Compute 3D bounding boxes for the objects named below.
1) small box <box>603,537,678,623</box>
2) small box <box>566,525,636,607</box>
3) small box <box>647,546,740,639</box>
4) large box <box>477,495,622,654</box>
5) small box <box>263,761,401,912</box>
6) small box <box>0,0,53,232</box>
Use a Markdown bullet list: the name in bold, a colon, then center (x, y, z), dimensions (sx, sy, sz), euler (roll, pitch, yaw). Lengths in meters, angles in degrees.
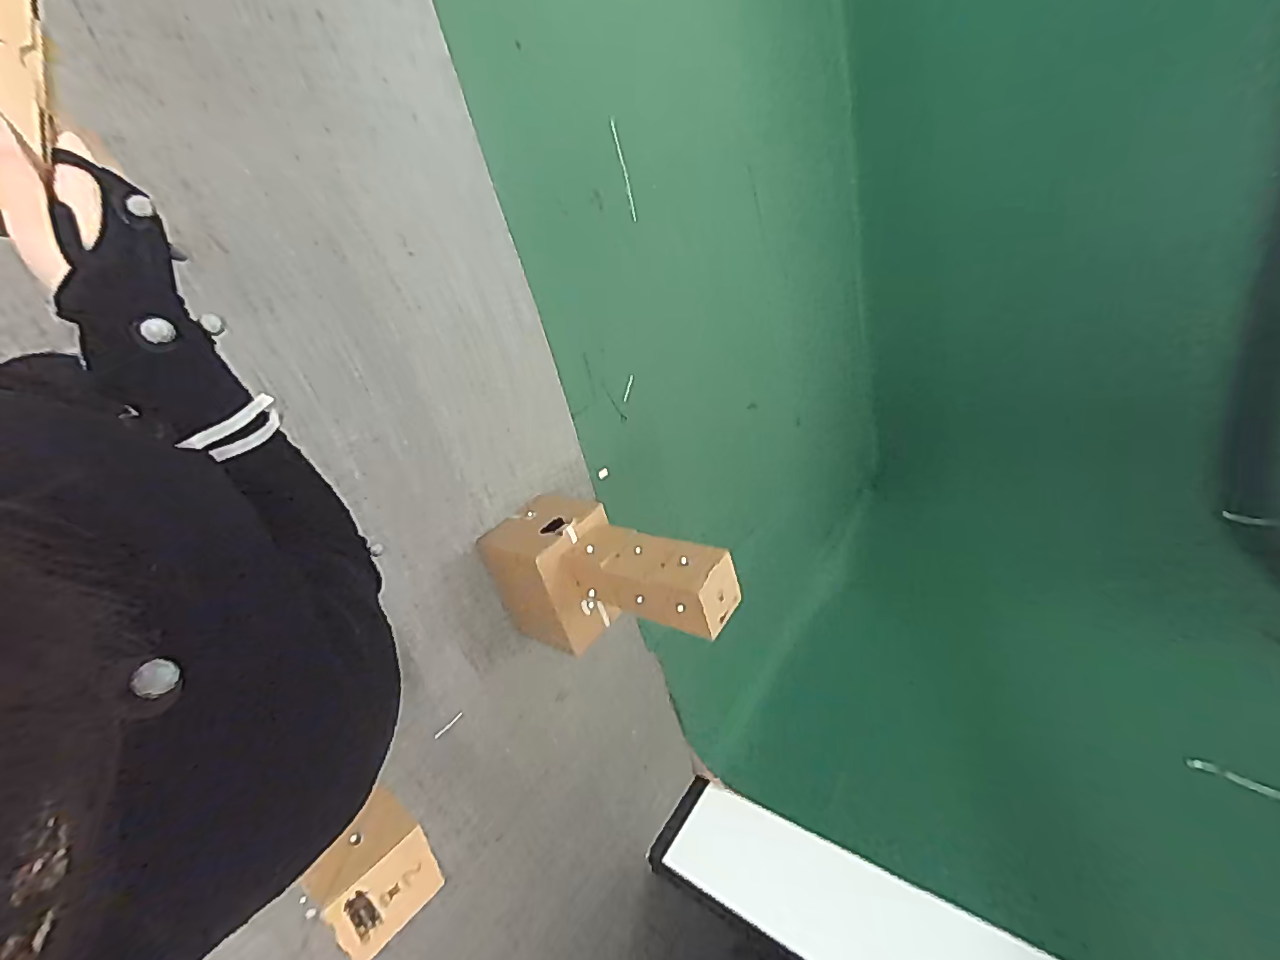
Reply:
- **small box**: center (0.019, 0.280, 1.568), dimensions (0.168, 0.176, 0.179), euler (-45, 128, -36)
- **small box**: center (-0.107, 0.260, 1.670), dimensions (0.179, 0.176, 0.168), euler (-42, 125, -40)
- **small box**: center (0.143, 0.293, 1.460), dimensions (0.168, 0.176, 0.179), euler (-43, 125, -38)
- **large box**: center (-0.284, 0.308, 1.846), dimensions (0.320, 0.320, 0.408), euler (-40, 124, -39)
- **small box**: center (-0.633, 0.713, 1.110), dimensions (0.168, 0.176, 0.179), euler (-32, 120, -43)
- **small box**: center (-0.450, -0.239, 0.284), dimensions (0.179, 0.176, 0.168), euler (-6, 106, -49)
